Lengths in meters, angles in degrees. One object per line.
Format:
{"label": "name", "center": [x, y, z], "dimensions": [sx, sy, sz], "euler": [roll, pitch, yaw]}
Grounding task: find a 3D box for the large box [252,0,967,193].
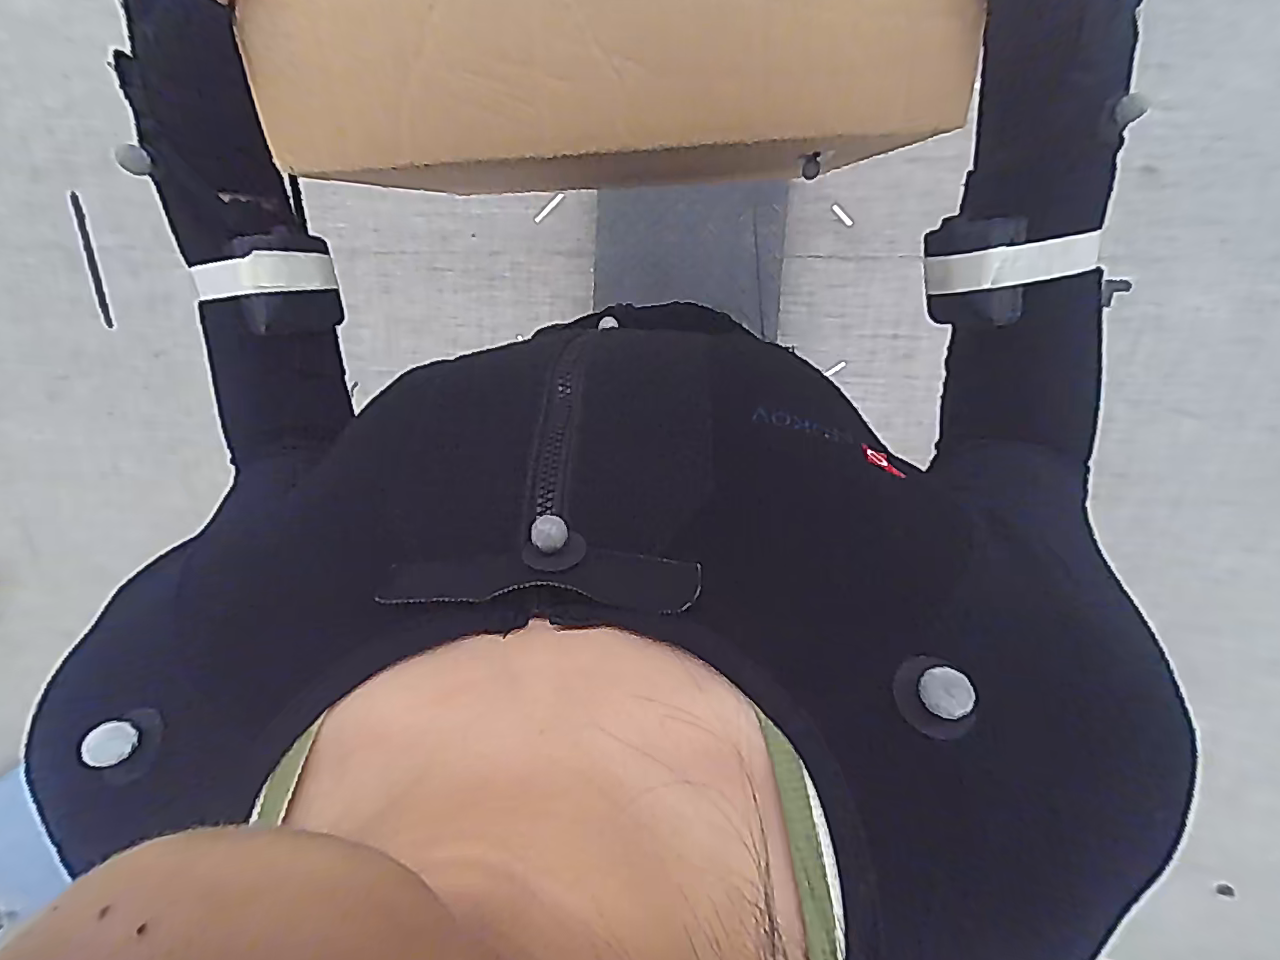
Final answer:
{"label": "large box", "center": [-0.017, -0.402, 0.398], "dimensions": [0.408, 0.320, 0.320], "euler": [-1, 115, 4]}
